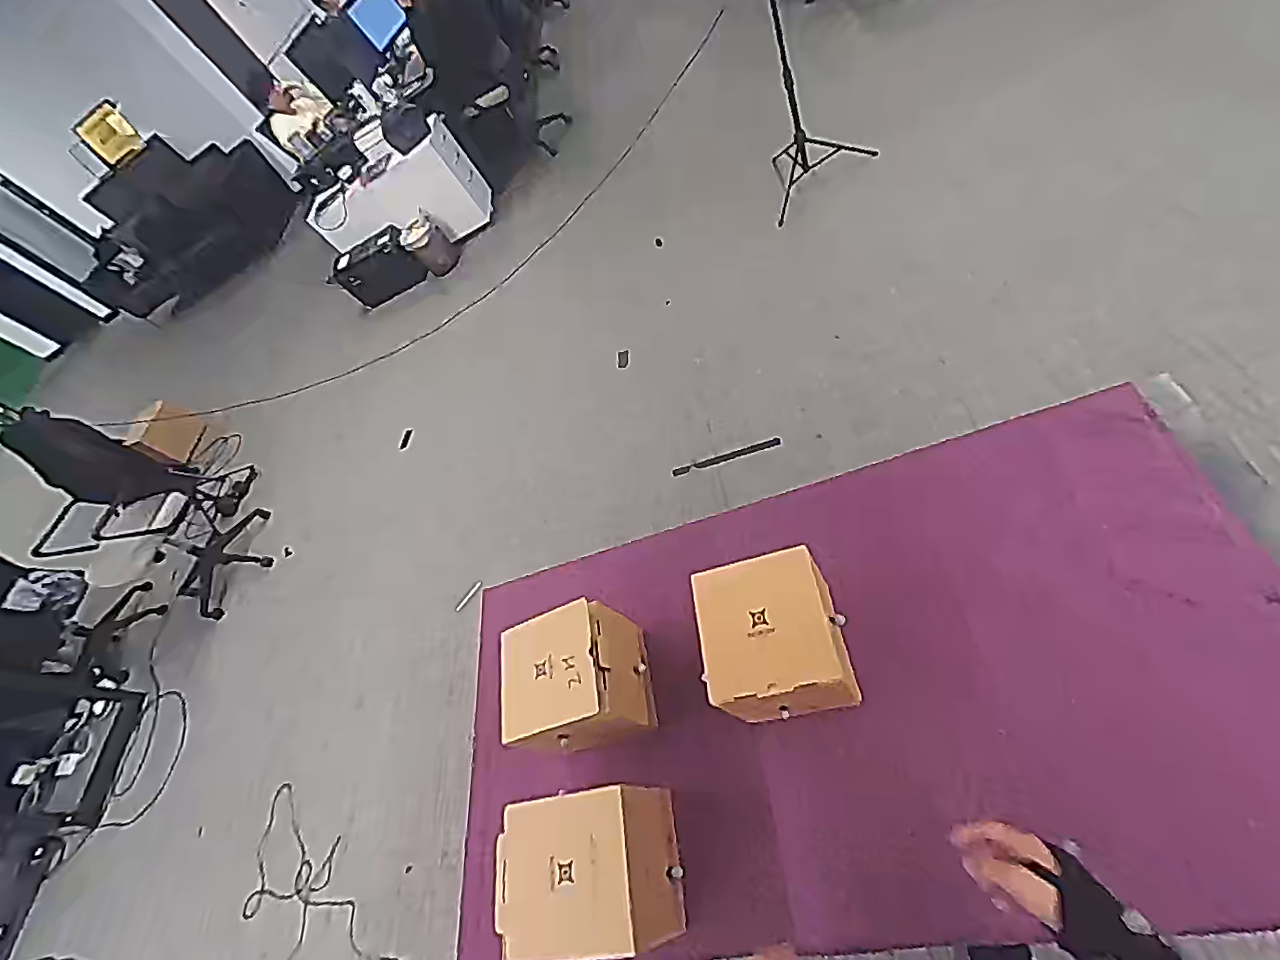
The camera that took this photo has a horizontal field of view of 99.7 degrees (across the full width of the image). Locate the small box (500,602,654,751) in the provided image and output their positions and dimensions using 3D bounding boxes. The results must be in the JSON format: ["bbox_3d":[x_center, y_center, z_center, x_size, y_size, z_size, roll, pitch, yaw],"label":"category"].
[{"bbox_3d":[-0.098,0.314,0.845,0.179,0.176,0.168,-21,54,15],"label":"small box"}]

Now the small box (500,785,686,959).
[{"bbox_3d":[-0.059,0.508,0.706,0.179,0.176,0.168,-20,54,17],"label":"small box"}]
